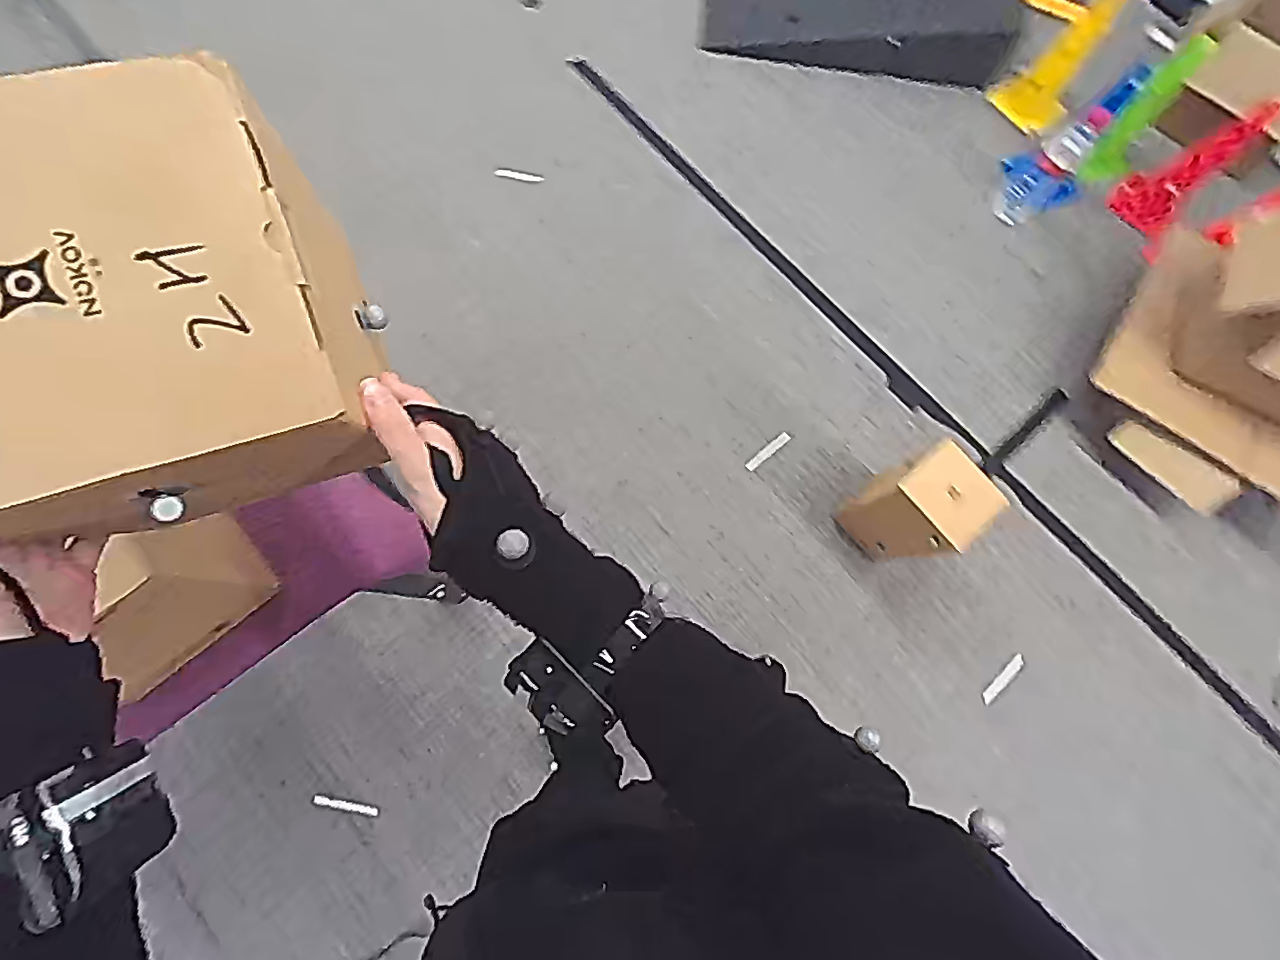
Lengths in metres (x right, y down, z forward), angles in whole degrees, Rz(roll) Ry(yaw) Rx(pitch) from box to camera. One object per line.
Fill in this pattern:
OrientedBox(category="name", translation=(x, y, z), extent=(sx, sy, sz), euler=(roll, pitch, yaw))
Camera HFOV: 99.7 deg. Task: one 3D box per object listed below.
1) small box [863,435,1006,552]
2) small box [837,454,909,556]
OrientedBox(category="small box", translation=(0.624, 0.037, 1.170), extent=(0.168, 0.176, 0.179), euler=(-40, 84, -13))
OrientedBox(category="small box", translation=(0.615, 0.069, 1.330), extent=(0.179, 0.176, 0.168), euler=(-41, 84, -14))
